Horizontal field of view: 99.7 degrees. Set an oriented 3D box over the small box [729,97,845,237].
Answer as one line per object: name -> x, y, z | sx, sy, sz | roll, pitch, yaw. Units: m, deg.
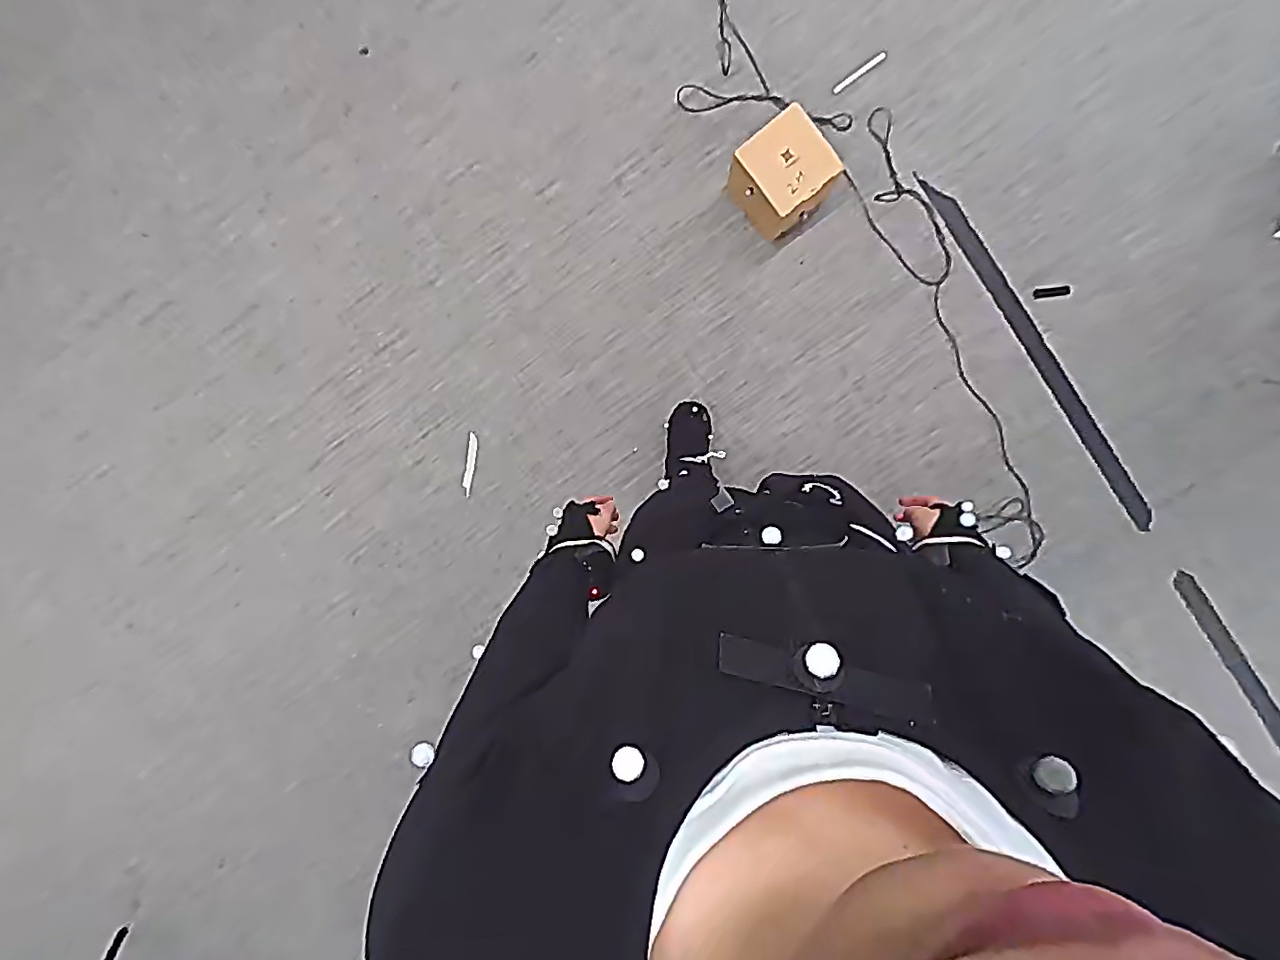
small box -> 0.316, -0.683, 1.205 | 0.168, 0.176, 0.179 | -37, 93, 6
